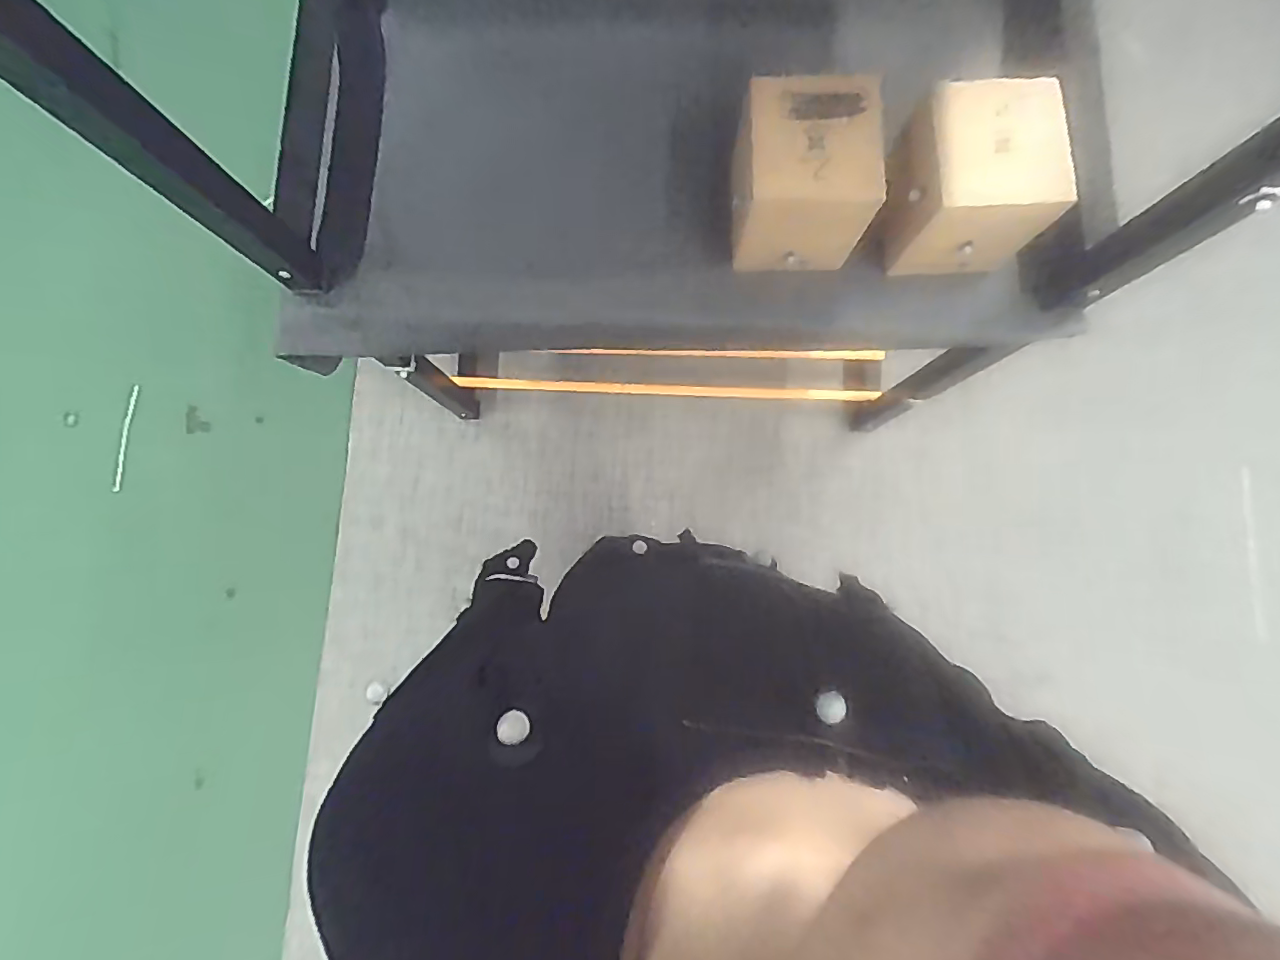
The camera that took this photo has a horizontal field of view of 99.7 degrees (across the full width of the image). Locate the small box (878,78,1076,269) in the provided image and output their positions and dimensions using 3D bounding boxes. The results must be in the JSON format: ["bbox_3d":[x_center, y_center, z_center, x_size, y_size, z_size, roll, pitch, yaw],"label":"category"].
[{"bbox_3d":[0.452,-0.410,0.753,0.168,0.176,0.179,-2,81,1],"label":"small box"}]
